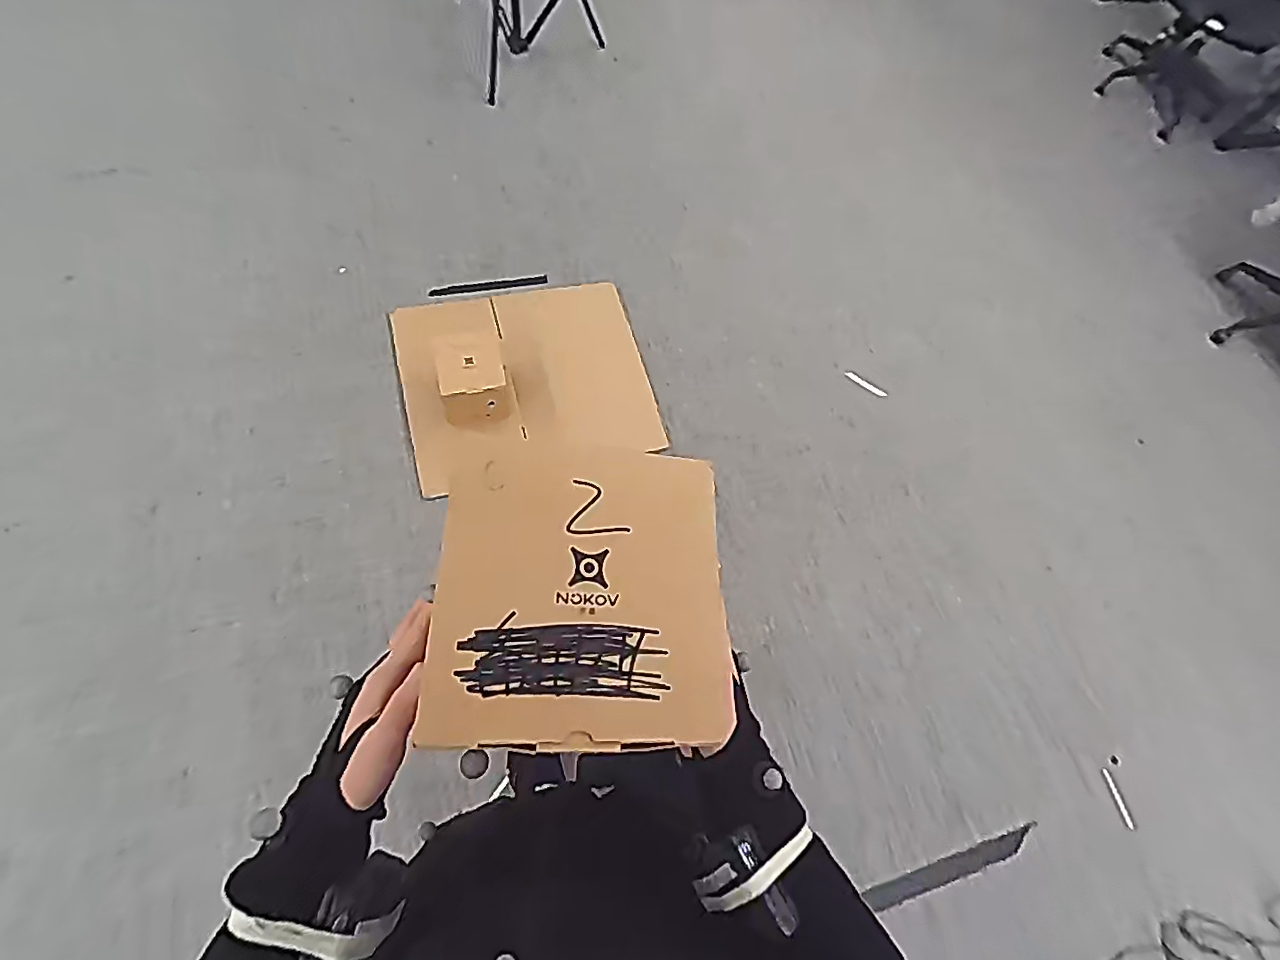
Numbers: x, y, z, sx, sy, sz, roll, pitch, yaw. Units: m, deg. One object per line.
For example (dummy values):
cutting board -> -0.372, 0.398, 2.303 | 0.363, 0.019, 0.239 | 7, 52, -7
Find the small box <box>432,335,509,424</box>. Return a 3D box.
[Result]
small box -> -0.455, -0.265, 1.469 | 0.168, 0.176, 0.179 | -11, 71, -16
